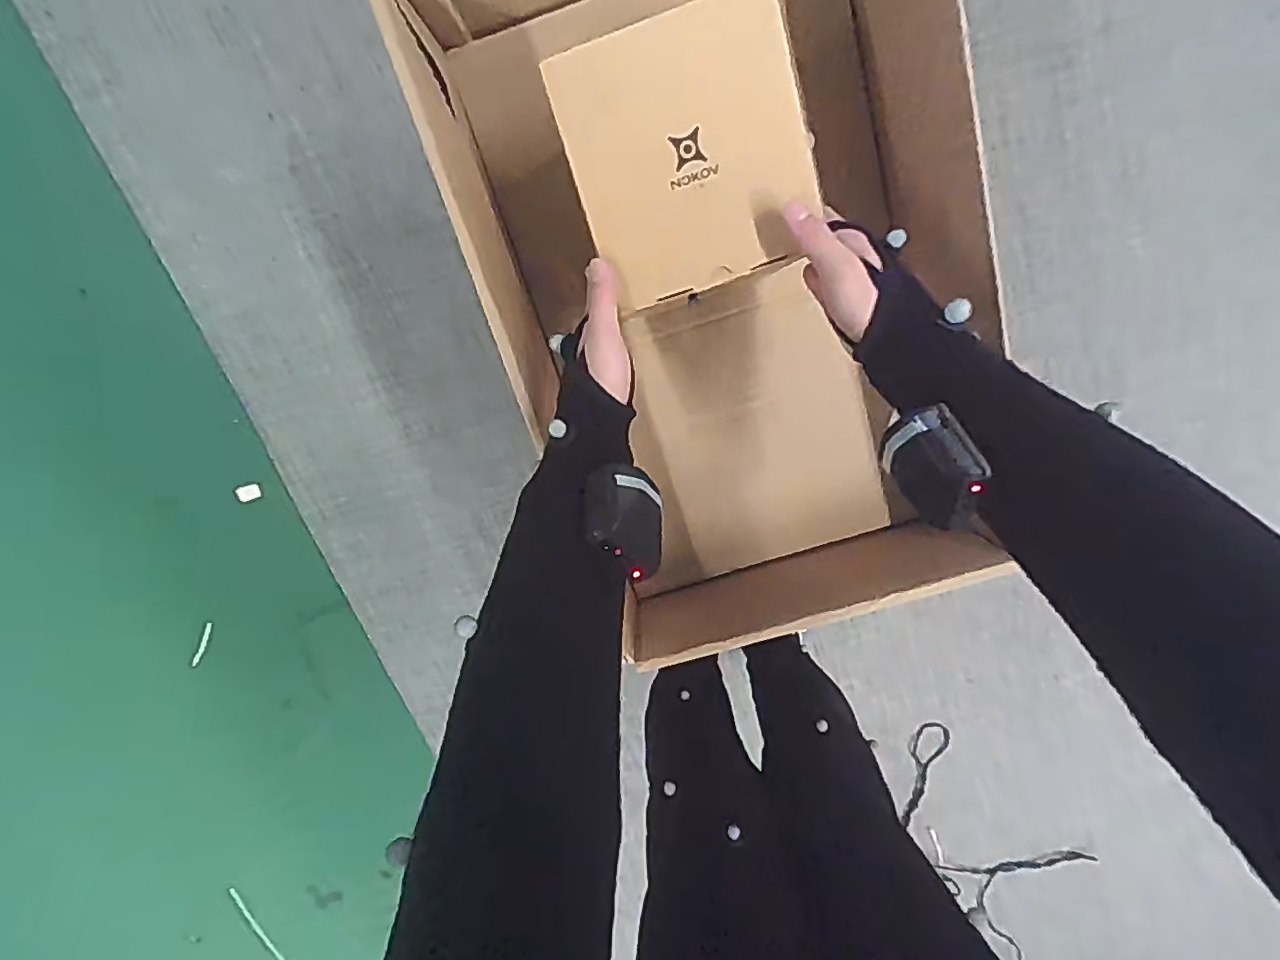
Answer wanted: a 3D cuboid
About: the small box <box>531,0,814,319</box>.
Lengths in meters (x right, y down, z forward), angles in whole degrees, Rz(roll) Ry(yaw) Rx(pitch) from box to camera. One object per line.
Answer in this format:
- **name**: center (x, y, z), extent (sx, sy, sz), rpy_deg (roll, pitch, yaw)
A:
- **small box**: center (0.025, -0.246, 0.459), extent (0.168, 0.176, 0.179), rpy_deg (-18, 105, 5)
